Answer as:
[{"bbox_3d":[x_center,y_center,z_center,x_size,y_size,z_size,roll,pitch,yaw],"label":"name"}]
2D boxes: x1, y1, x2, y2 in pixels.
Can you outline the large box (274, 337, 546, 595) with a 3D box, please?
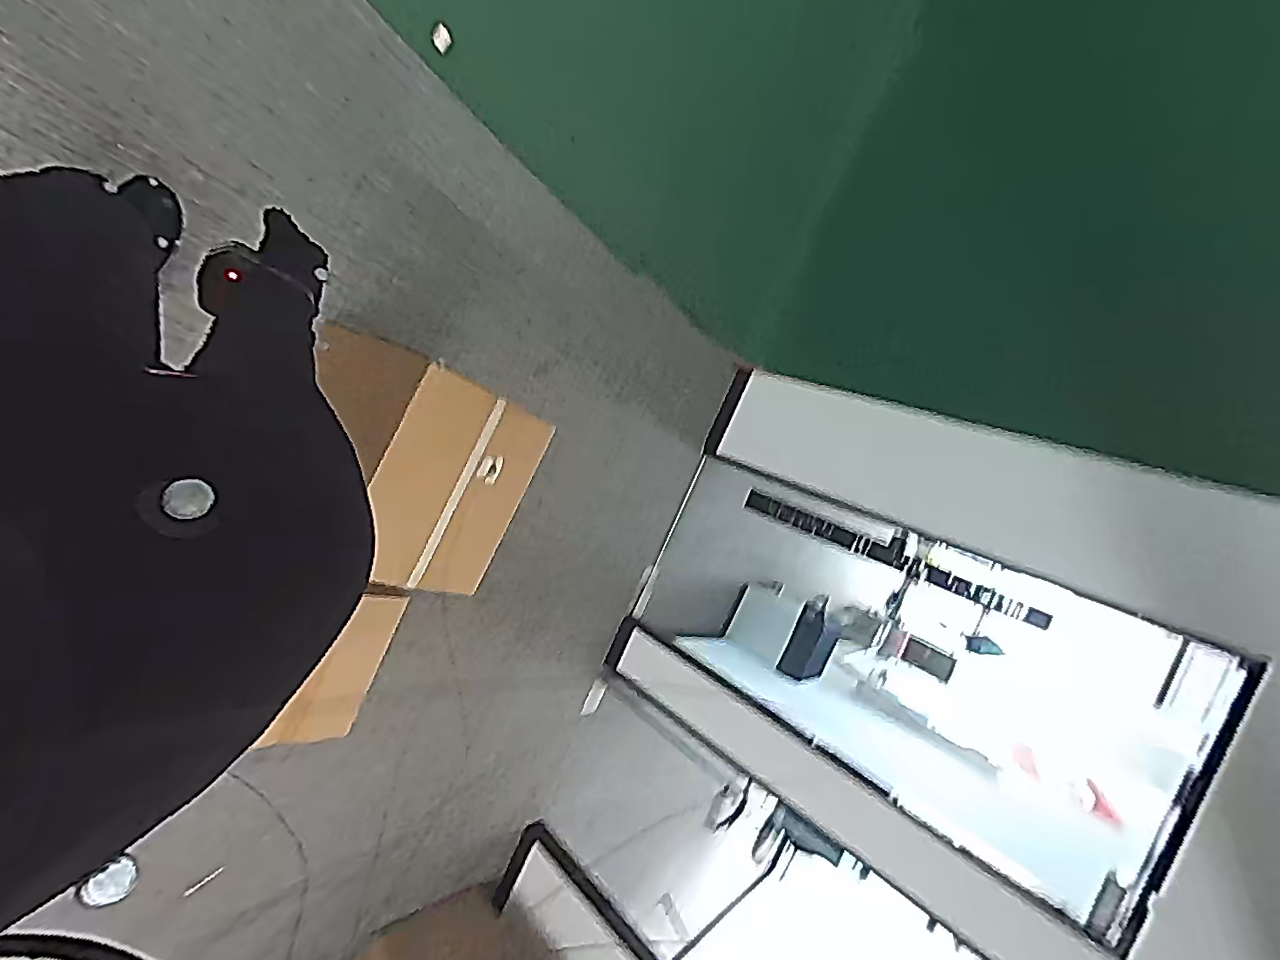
[{"bbox_3d":[-0.470,-0.026,1.111,0.320,0.320,0.408,29,86,-51],"label":"large box"}]
